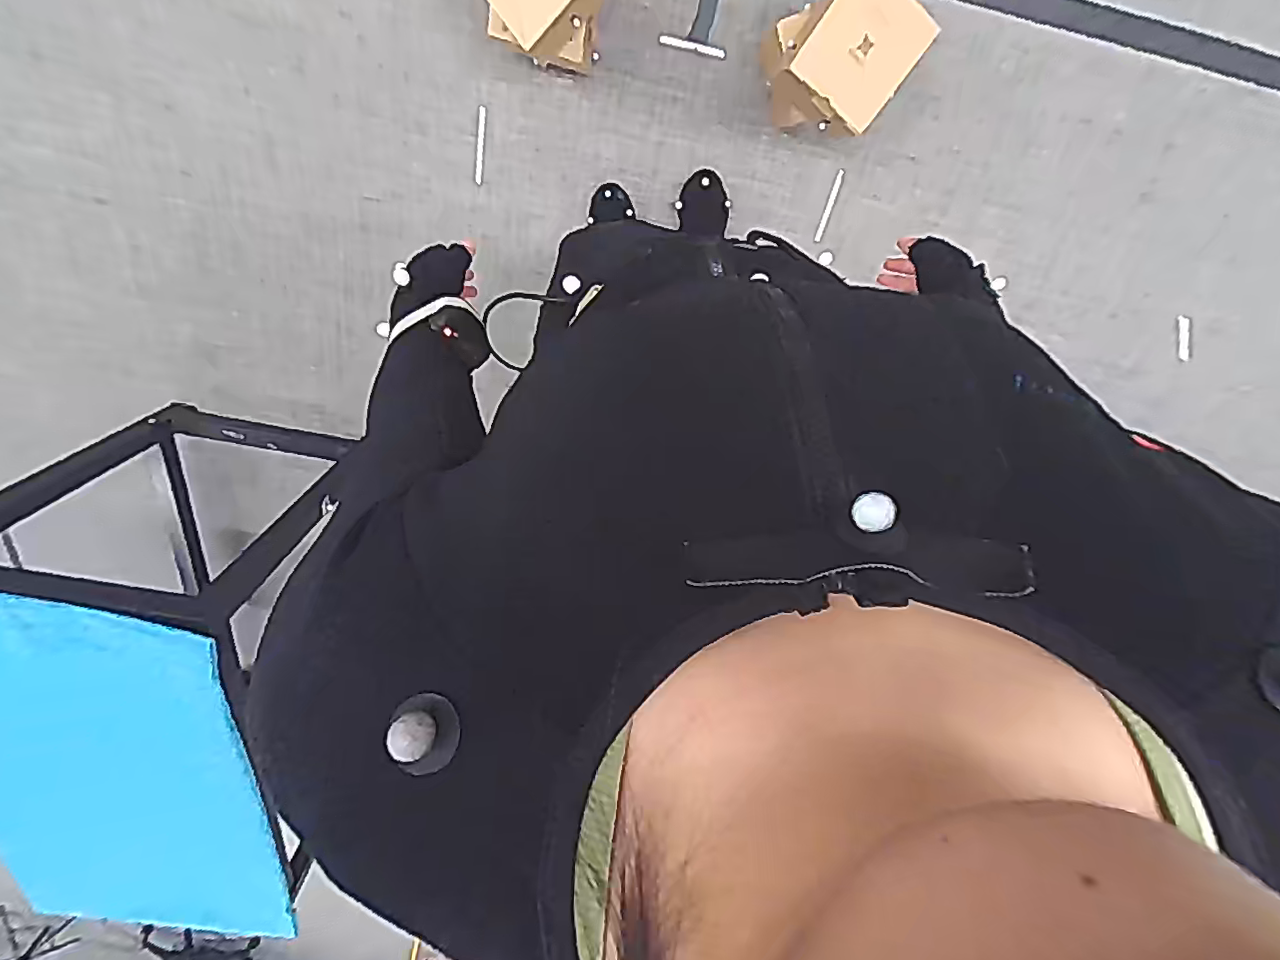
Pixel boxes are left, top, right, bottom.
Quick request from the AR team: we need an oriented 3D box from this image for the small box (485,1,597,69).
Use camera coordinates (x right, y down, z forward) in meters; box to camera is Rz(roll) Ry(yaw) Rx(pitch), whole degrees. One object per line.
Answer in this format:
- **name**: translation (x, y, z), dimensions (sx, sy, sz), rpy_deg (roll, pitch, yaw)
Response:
- **small box**: translation (-0.176, -0.901, 1.016), dimensions (0.179, 0.176, 0.168), rpy_deg (13, 119, -6)

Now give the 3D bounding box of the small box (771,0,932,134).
- **small box**: translation (0.345, -0.727, 0.926), dimensions (0.168, 0.176, 0.179), rpy_deg (31, 116, -19)

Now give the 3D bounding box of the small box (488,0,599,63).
- **small box**: translation (-0.174, -0.825, 0.866), dimensions (0.168, 0.176, 0.179), rpy_deg (-36, 113, 20)

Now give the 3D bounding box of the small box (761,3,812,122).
- **small box**: translation (0.343, -0.822, 1.060), dimensions (0.179, 0.176, 0.168), rpy_deg (-15, 121, 10)
